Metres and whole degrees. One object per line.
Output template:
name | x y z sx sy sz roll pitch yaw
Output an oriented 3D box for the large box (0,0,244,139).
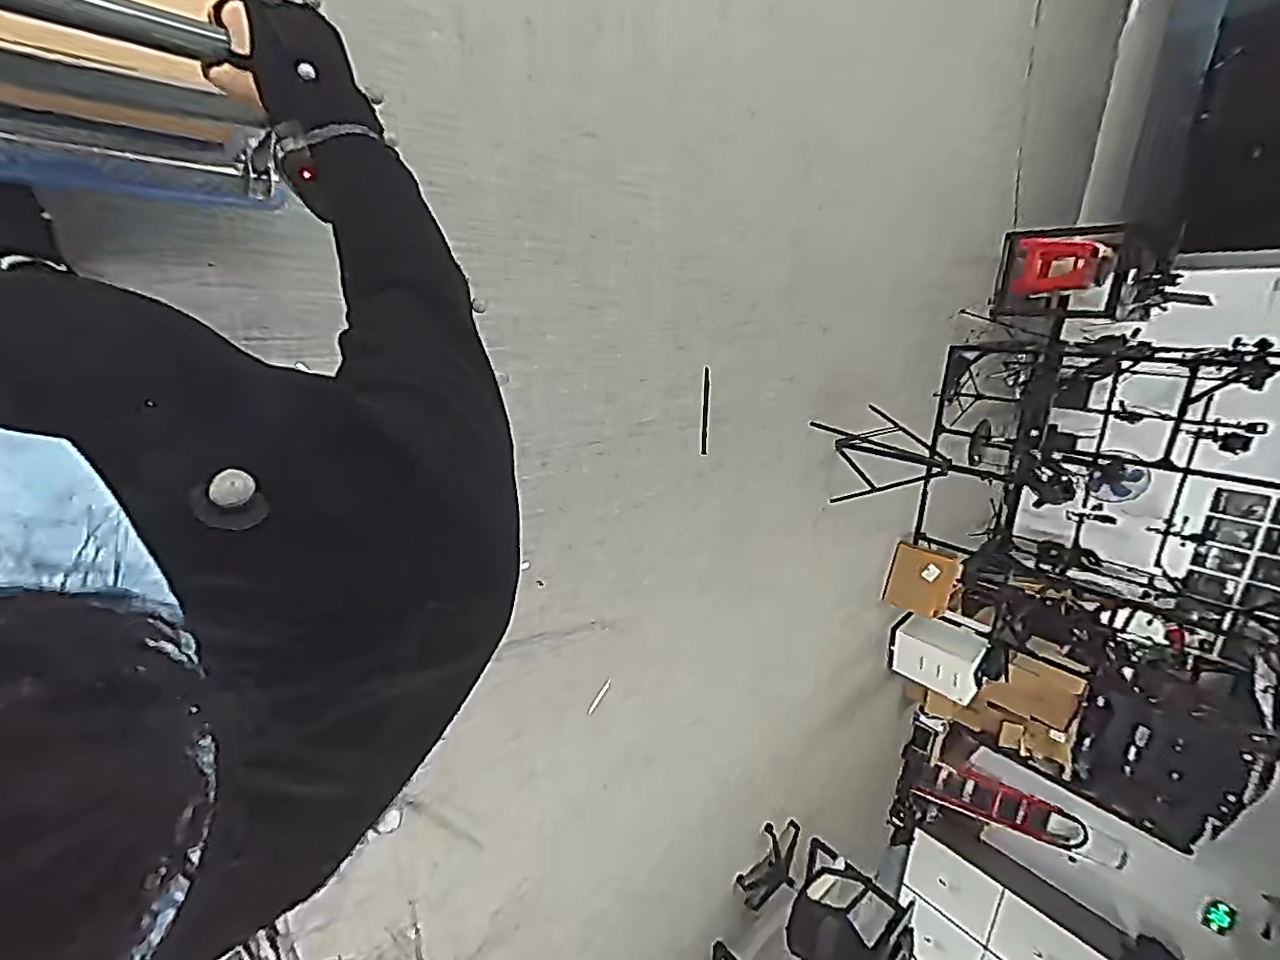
large box | -0.786 -0.670 0.673 0.408 0.320 0.320 -13 113 -41
